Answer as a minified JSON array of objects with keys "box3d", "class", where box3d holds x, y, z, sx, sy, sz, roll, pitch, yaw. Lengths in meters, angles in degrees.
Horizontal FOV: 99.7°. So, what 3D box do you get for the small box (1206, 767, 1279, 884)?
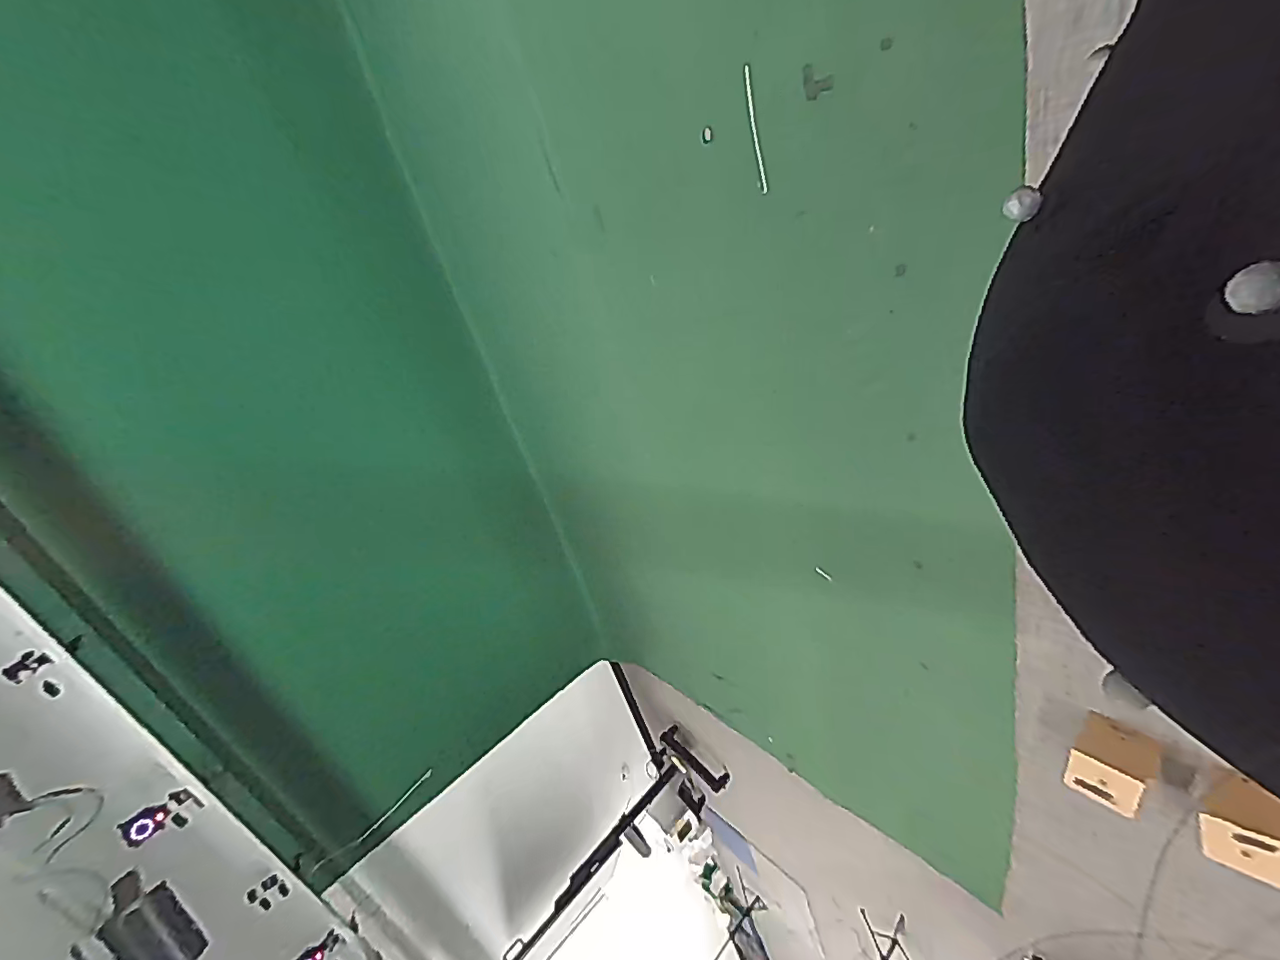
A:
[{"box3d":[1.579,0.879,1.379,0.168,0.176,0.179,5,123,55],"class":"small box"}]
